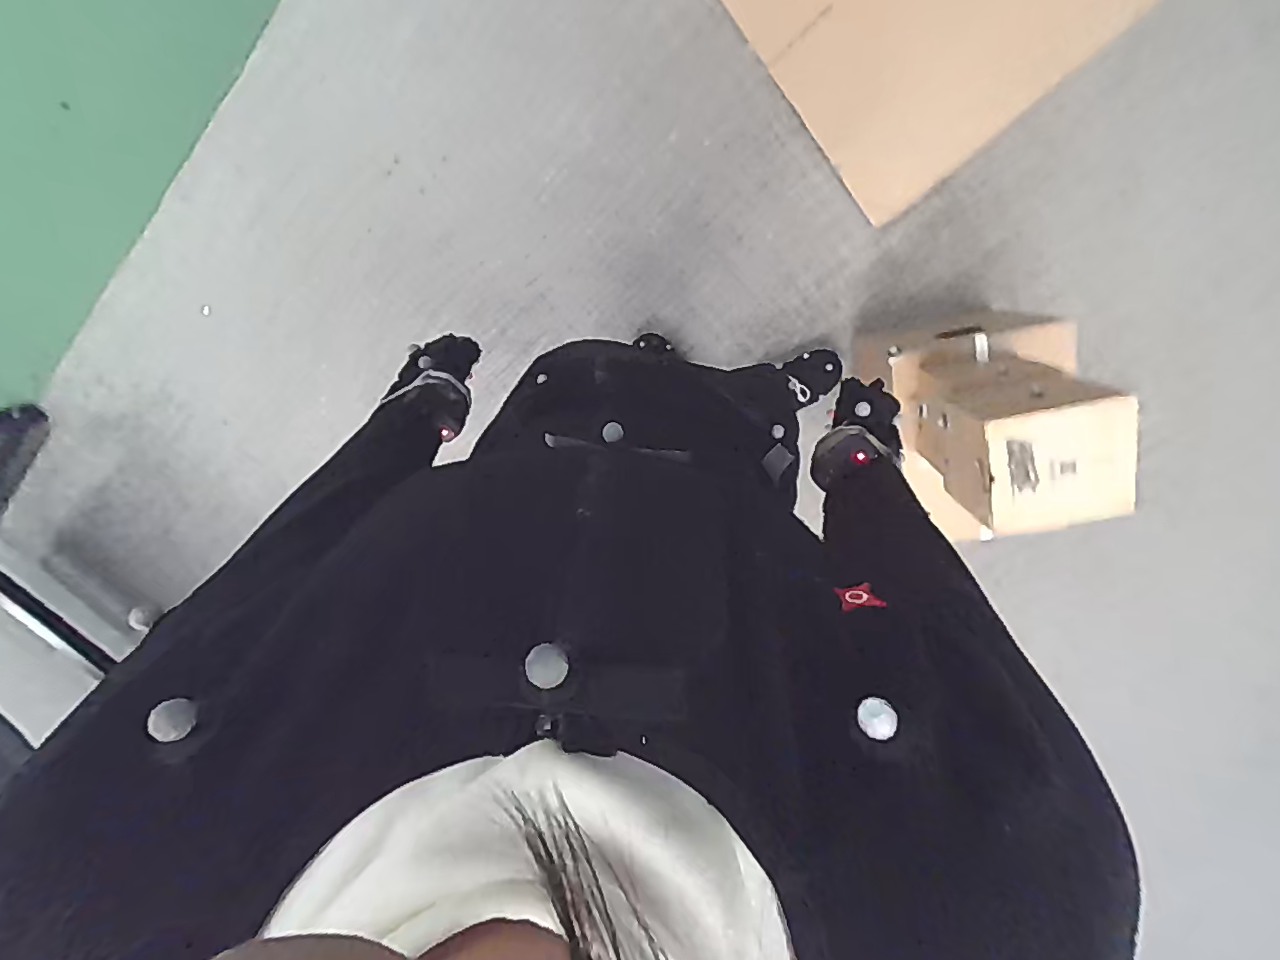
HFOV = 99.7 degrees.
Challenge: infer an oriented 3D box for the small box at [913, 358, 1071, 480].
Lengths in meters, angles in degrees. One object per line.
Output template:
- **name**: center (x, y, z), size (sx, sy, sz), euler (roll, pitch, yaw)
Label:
- **small box**: center (0.594, -0.110, 0.934), size (0.179, 0.176, 0.168), euler (-6, 108, 12)

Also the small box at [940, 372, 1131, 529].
- **small box**: center (0.557, -0.049, 0.785), size (0.179, 0.176, 0.168), euler (-13, 107, 14)
